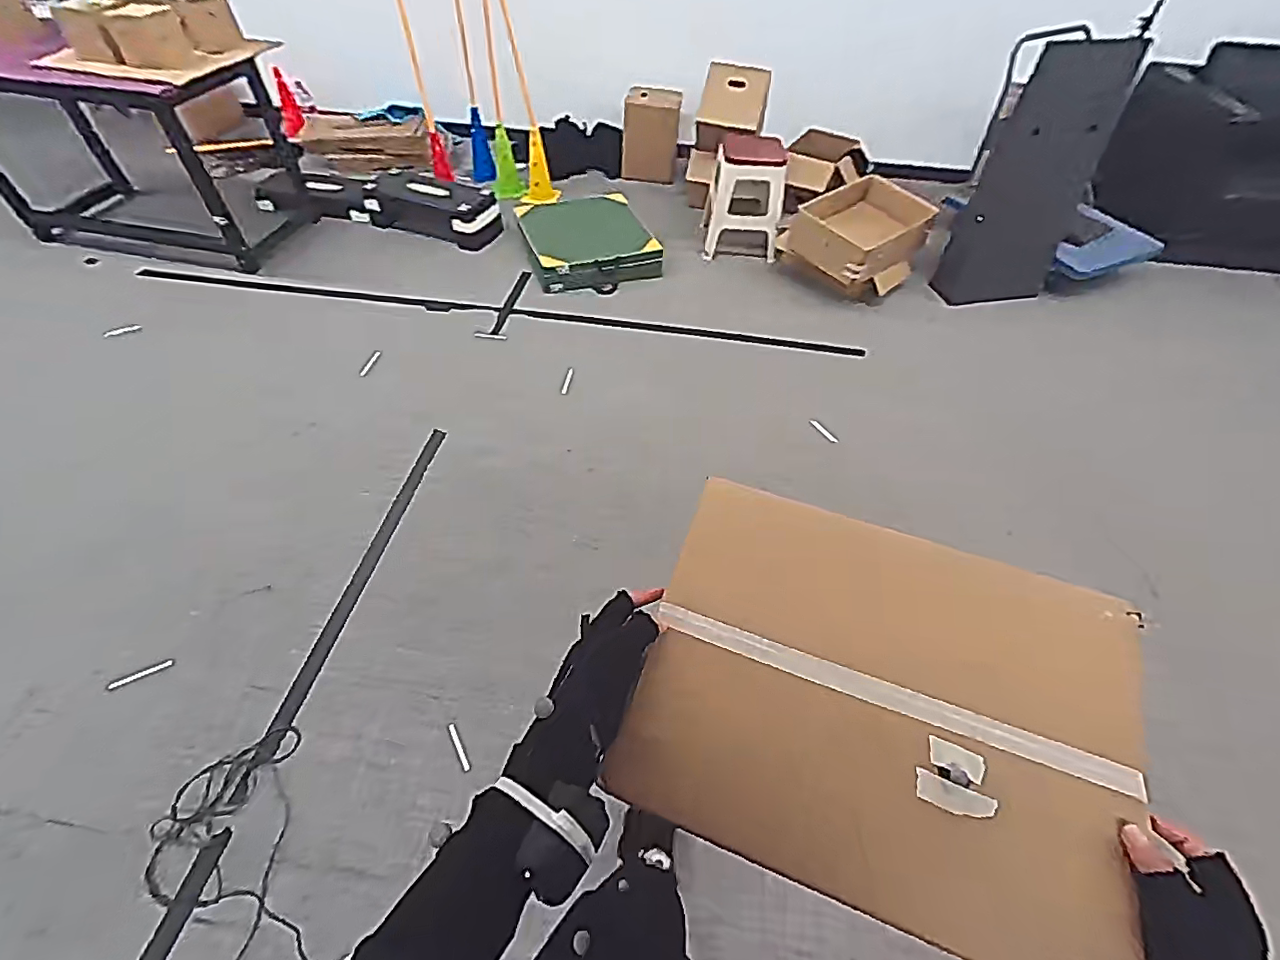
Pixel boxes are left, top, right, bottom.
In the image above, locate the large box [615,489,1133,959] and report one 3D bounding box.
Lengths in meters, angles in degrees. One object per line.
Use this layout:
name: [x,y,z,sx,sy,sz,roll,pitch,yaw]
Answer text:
large box: [0.220,0.260,0.613,0.408,0.320,0.320,18,65,13]
